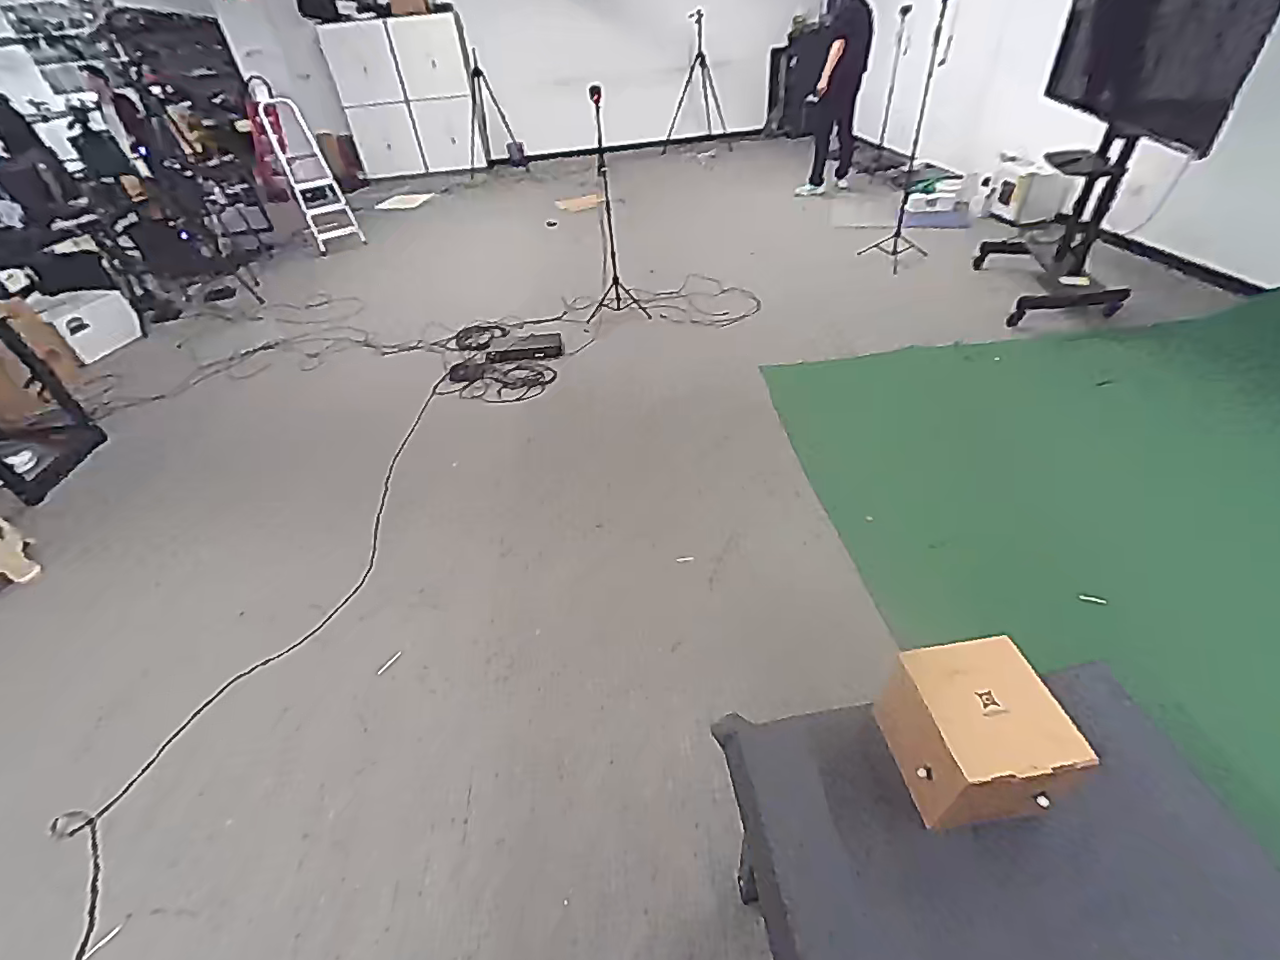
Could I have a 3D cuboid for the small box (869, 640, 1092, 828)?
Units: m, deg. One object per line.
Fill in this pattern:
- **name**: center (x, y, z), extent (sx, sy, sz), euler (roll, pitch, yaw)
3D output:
- **small box**: center (0.447, 0.352, 0.746), extent (0.168, 0.176, 0.179), euler (-7, 38, -7)
